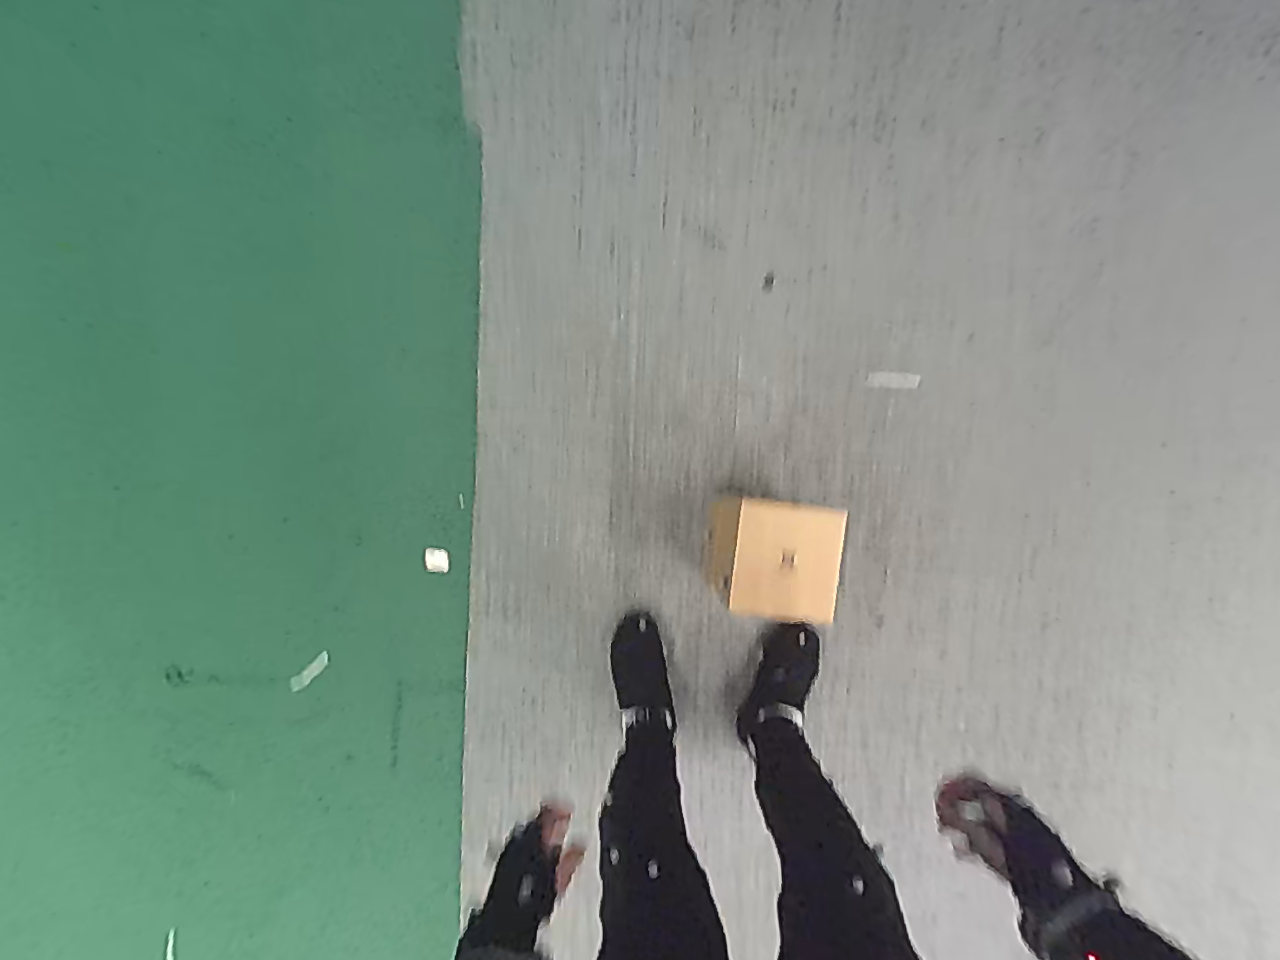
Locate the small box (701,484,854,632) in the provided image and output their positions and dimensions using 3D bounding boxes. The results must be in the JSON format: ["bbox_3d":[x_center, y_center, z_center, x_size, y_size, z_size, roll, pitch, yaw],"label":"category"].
[{"bbox_3d":[0.219,0.121,0.922,0.179,0.176,0.168,38,94,0],"label":"small box"}]

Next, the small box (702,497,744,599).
[{"bbox_3d":[0.219,0.134,1.076,0.168,0.176,0.179,7,91,0],"label":"small box"}]
